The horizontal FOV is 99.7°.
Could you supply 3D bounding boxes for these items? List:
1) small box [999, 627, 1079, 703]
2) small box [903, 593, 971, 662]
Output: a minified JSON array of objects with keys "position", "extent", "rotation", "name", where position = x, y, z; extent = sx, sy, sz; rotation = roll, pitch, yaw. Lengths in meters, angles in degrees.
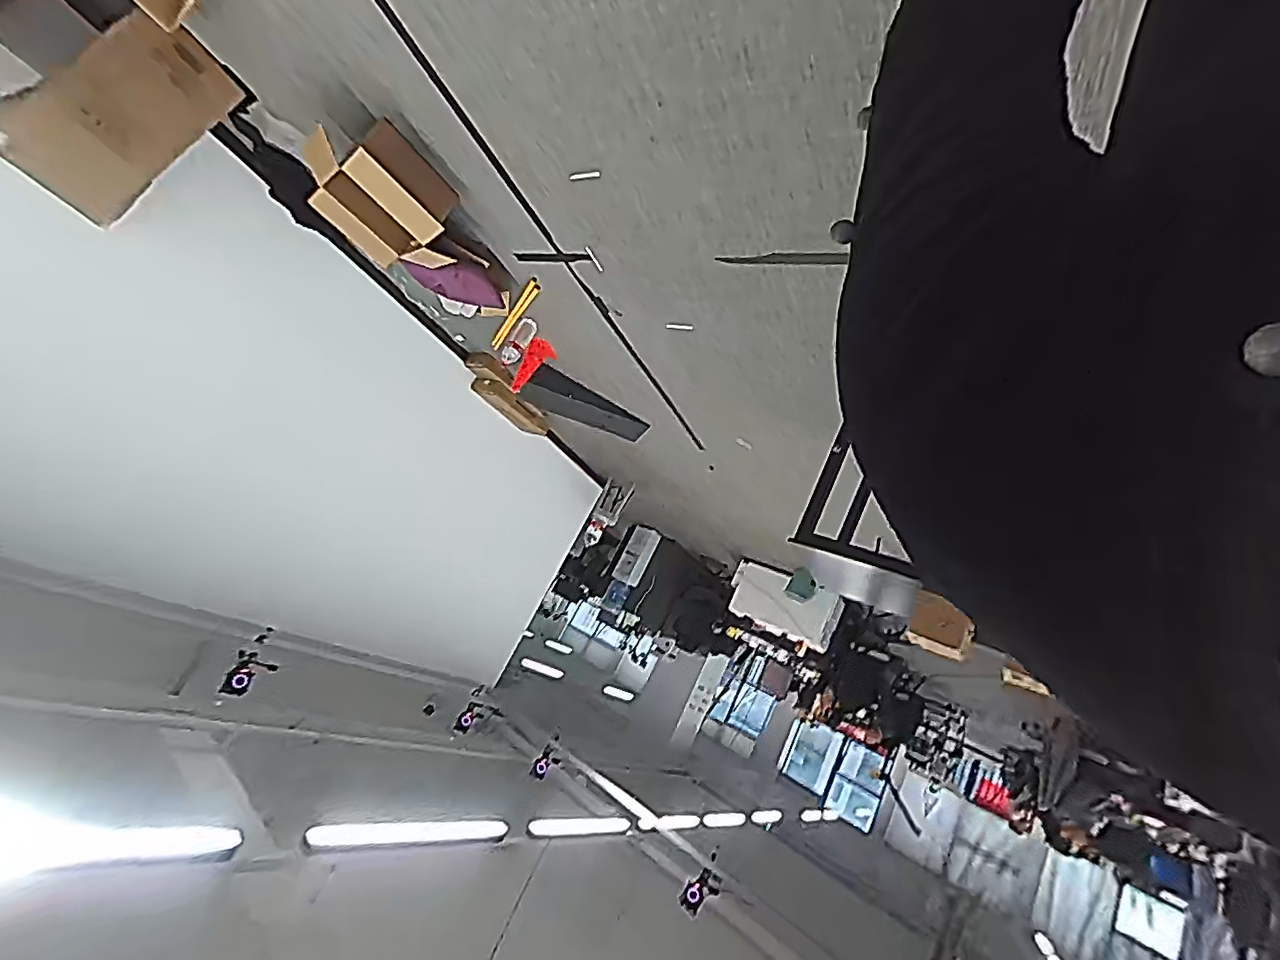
[{"position":[1.304,0.599,1.772],"extent":[0.179,0.176,0.168],"rotation":[14,160,41],"name":"small box"},{"position":[1.076,0.527,1.945],"extent":[0.179,0.176,0.168],"rotation":[14,160,41],"name":"small box"}]
